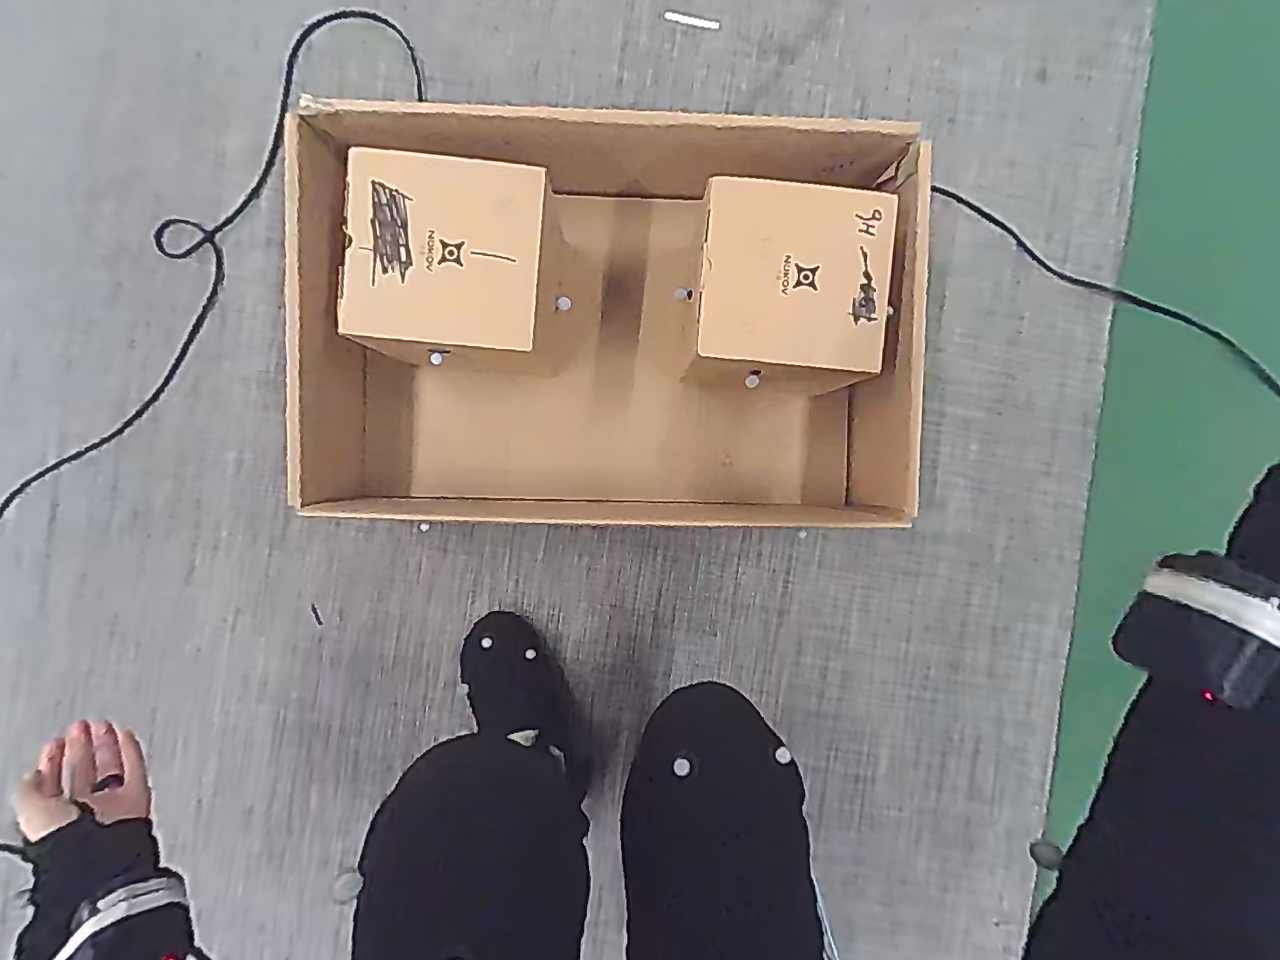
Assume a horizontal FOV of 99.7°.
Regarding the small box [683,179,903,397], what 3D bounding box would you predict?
[{"bbox_3d":[0.145,-0.186,0.574,0.179,0.176,0.168,6,91,-2],"label":"small box"}]
